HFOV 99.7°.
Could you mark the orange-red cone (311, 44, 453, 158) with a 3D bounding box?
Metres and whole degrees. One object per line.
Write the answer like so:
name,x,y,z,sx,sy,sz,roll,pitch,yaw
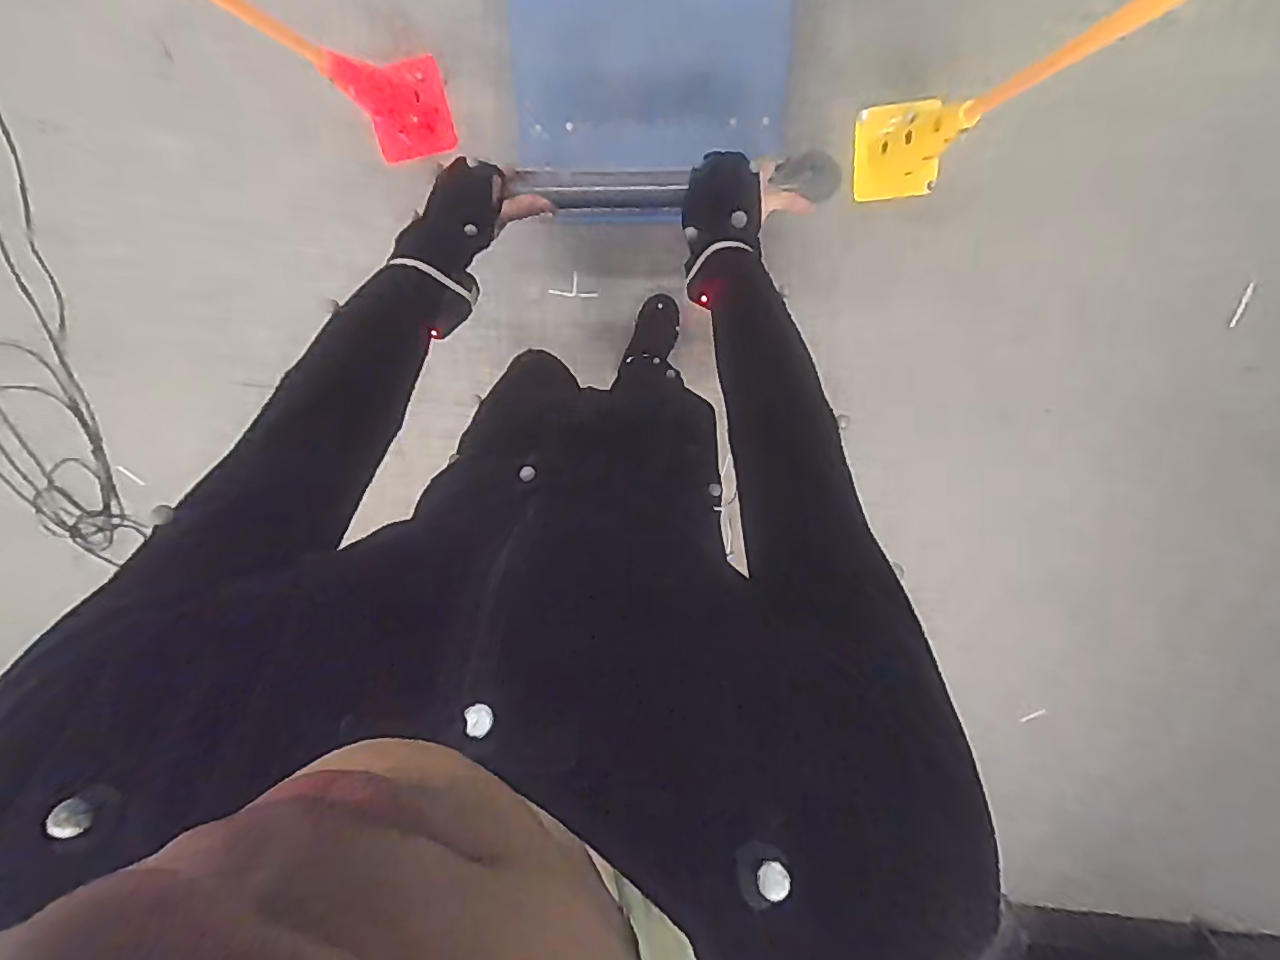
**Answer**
orange-red cone,-0.575,-0.840,1.152,0.199,0.360,0.198,-7,111,7
